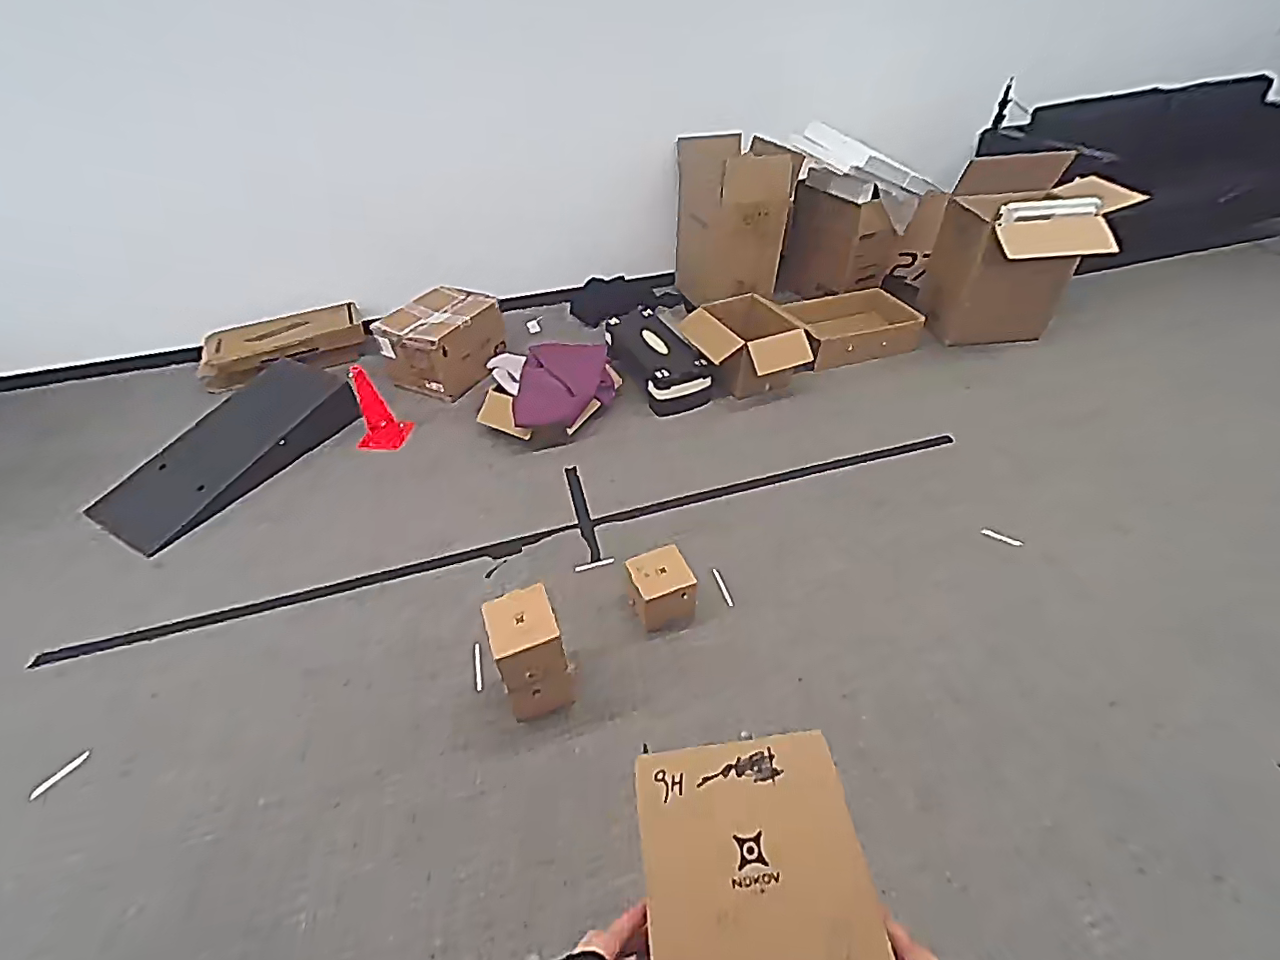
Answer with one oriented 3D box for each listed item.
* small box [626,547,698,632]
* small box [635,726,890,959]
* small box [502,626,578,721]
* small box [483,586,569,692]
[{"bbox_3d":[0.065,0.346,1.695,0.179,0.176,0.168,-17,44,-15],"label":"small box"},{"bbox_3d":[0.093,0.339,0.470,0.168,0.176,0.179,-9,48,1],"label":"small box"},{"bbox_3d":[-0.283,0.539,1.502,0.179,0.176,0.168,-15,44,-13],"label":"small box"},{"bbox_3d":[-0.293,0.412,1.400,0.168,0.176,0.179,-19,46,-14],"label":"small box"}]
